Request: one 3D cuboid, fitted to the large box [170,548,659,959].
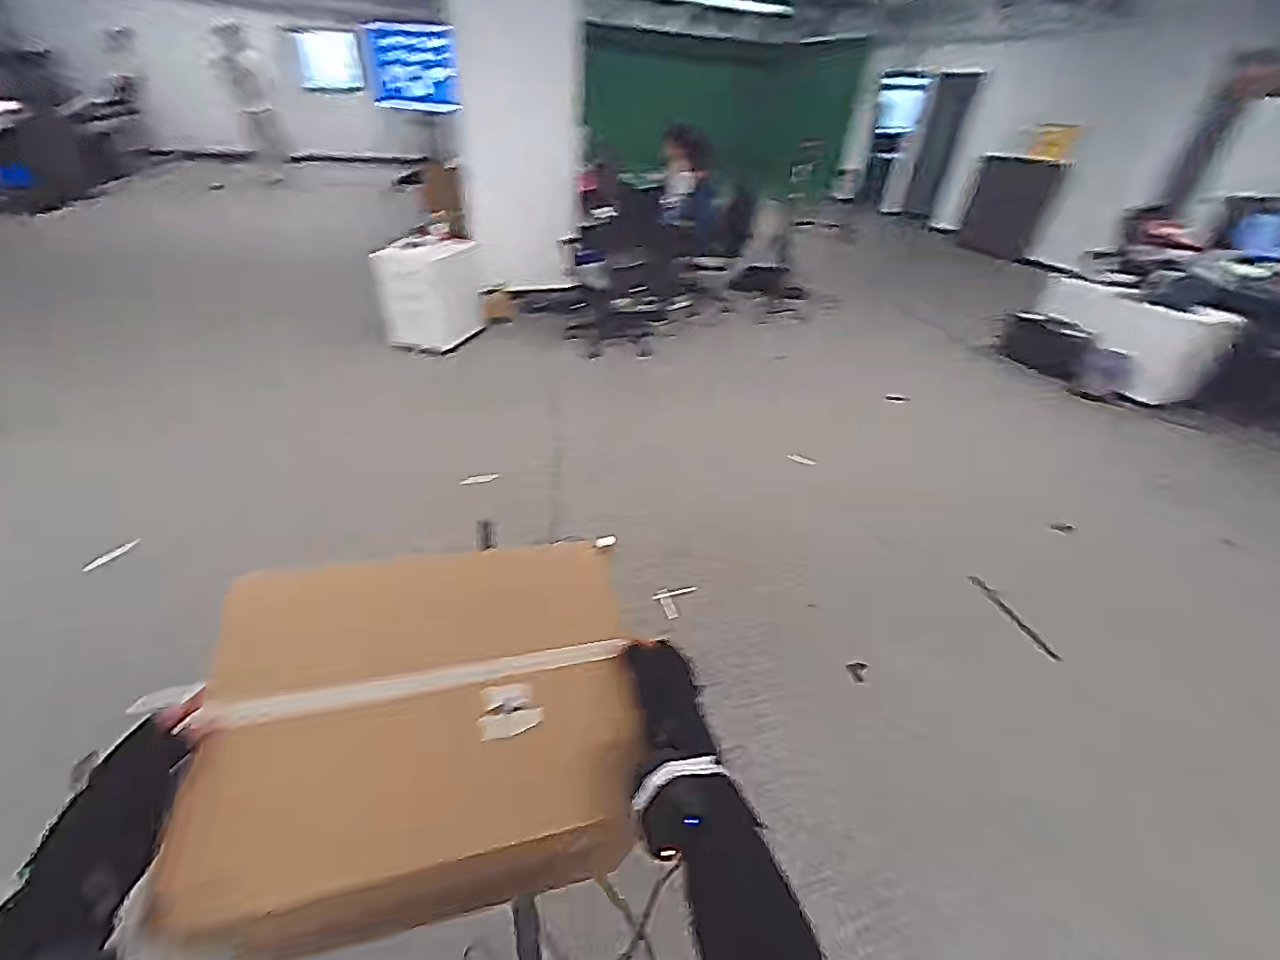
[{"bbox_3d":[-0.235,0.317,0.662,0.408,0.320,0.320,-4,48,-18],"label":"large box"}]
